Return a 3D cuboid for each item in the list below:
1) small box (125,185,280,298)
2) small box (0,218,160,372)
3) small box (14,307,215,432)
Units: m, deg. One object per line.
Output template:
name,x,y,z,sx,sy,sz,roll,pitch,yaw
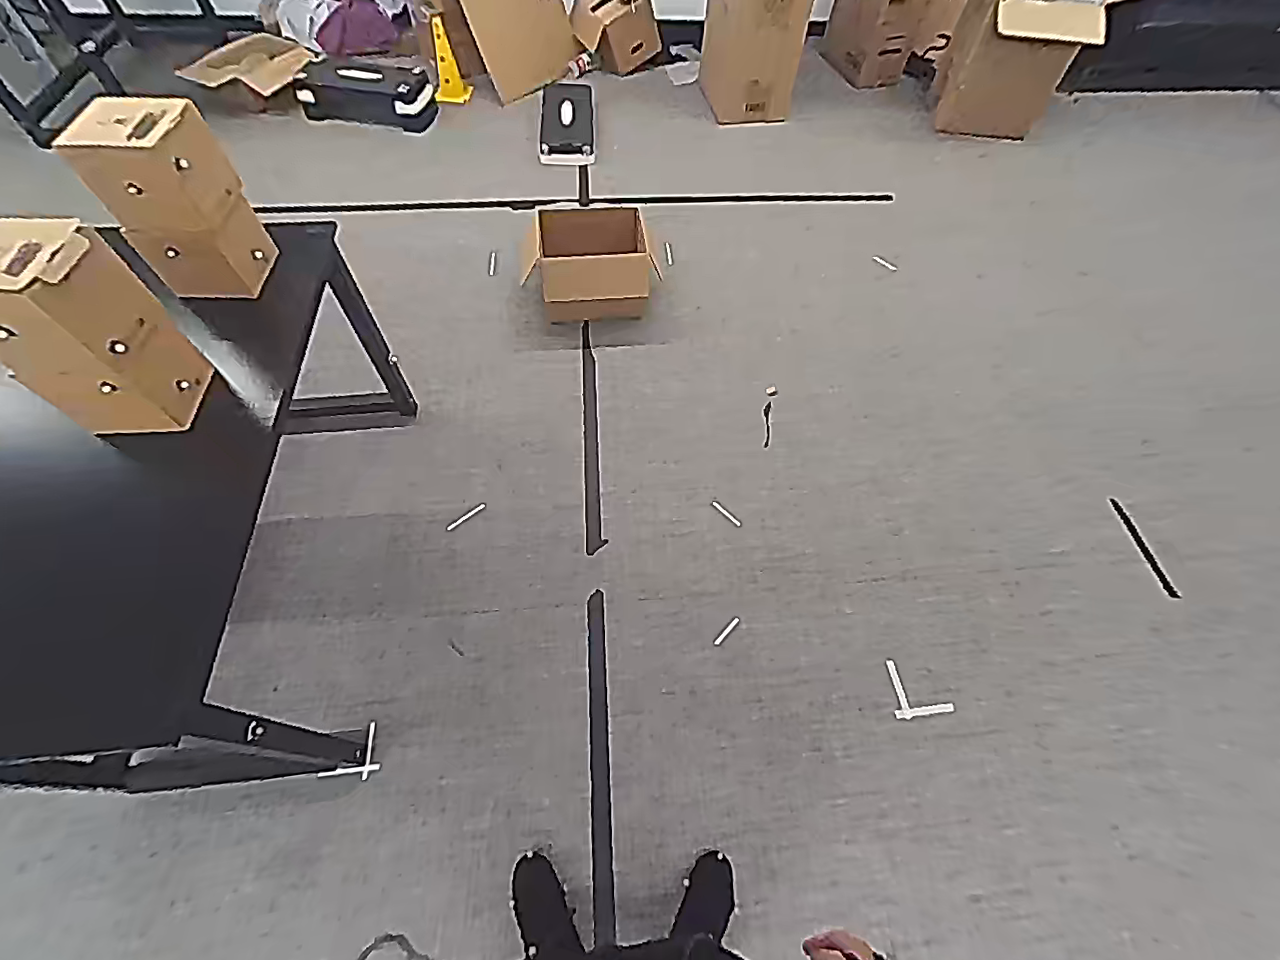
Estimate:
small box,-0.945,-0.519,1.188,0.179,0.176,0.168,1,60,-2
small box,-0.936,-0.288,0.861,0.179,0.176,0.168,1,58,-1
small box,-0.950,-0.201,1.000,0.179,0.176,0.168,-3,59,-4
